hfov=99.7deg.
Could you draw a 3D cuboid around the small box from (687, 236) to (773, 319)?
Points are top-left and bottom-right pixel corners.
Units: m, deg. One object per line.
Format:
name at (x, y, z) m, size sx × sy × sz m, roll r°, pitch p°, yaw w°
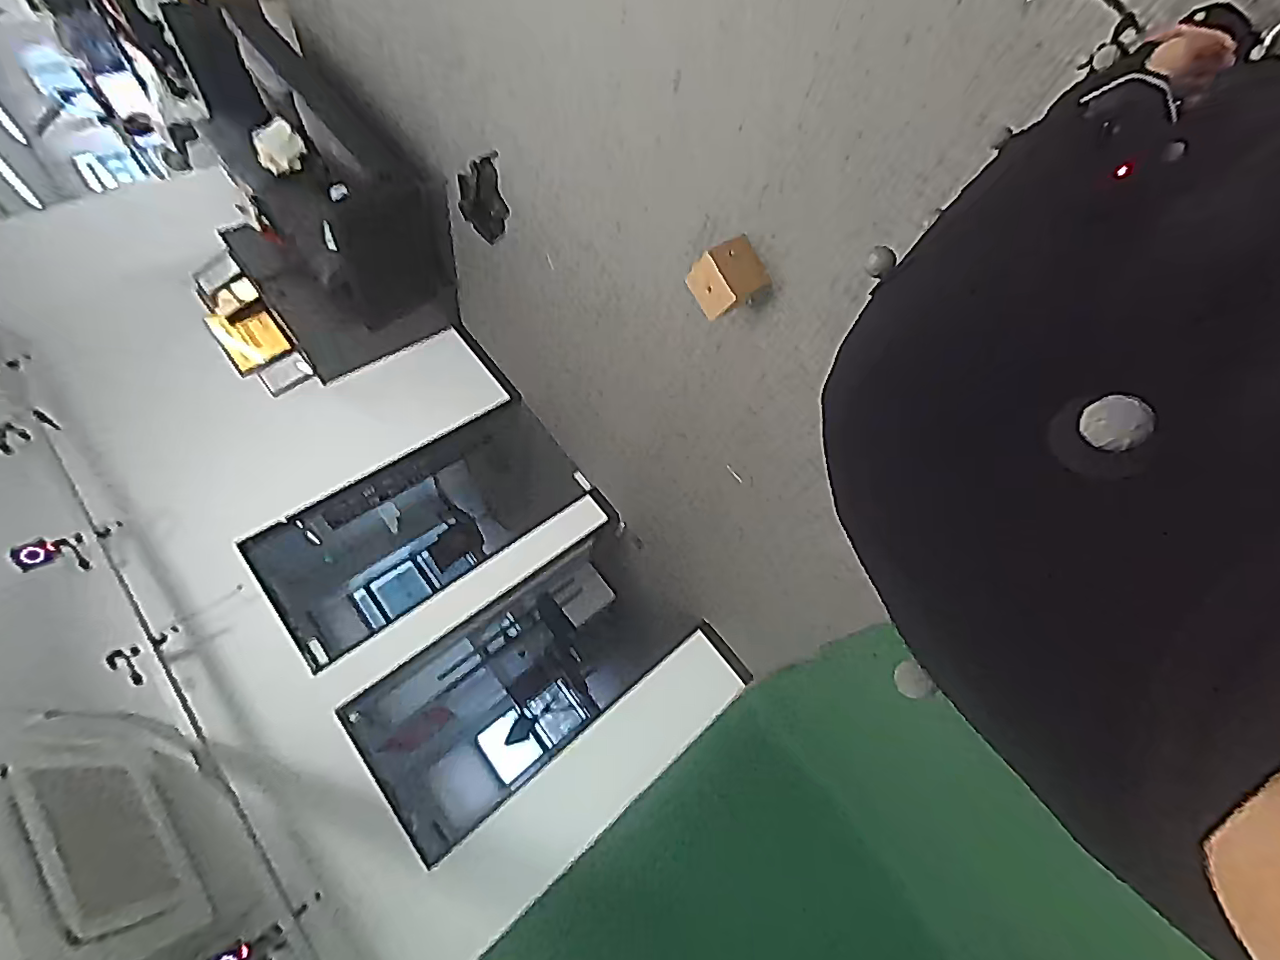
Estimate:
small box at (0.291, -0.660, 1.745) m, size 0.179 × 0.176 × 0.168 m, roll 56°, pitch 156°, yaw -3°
